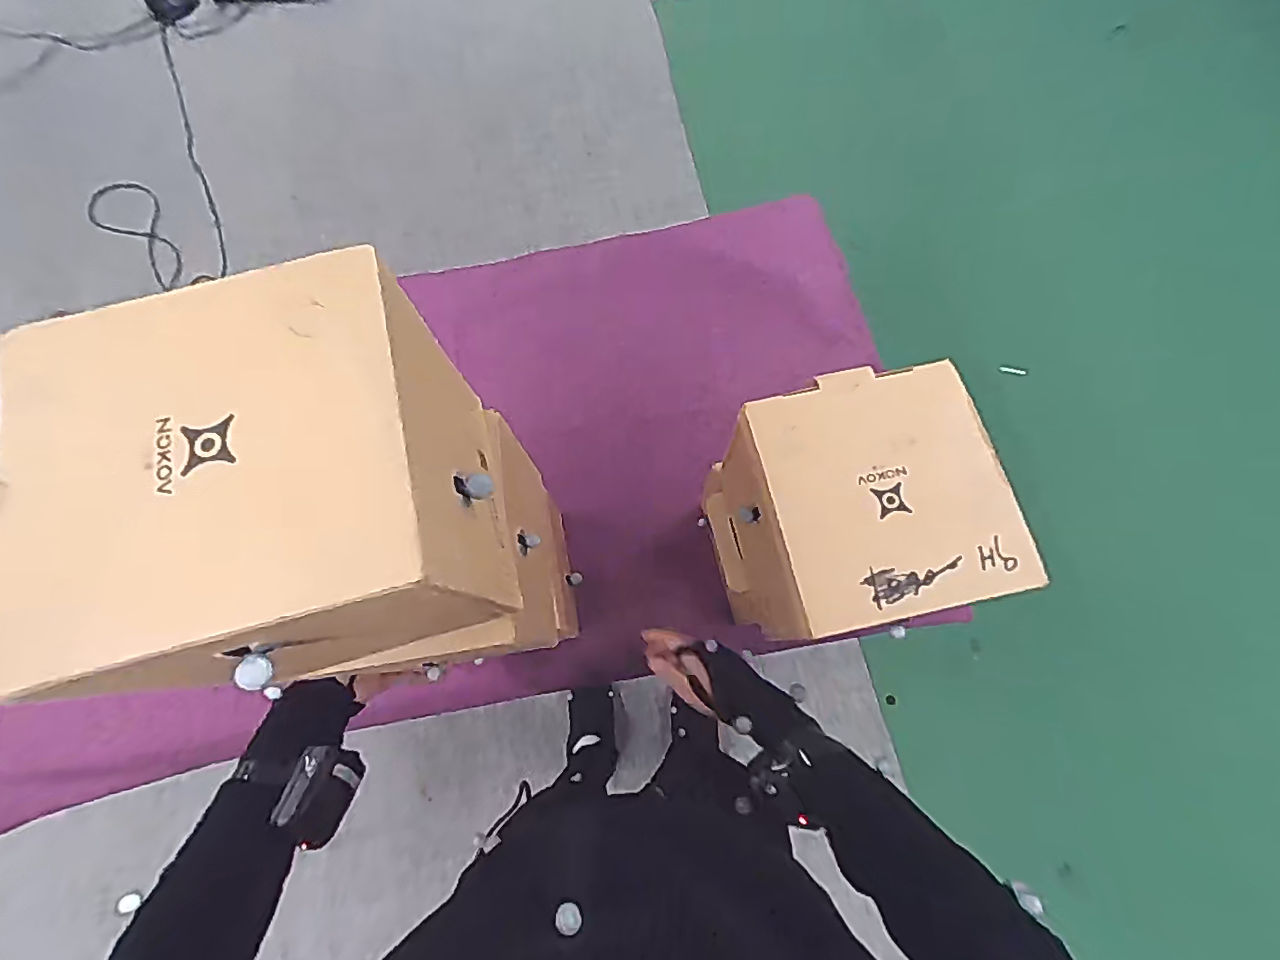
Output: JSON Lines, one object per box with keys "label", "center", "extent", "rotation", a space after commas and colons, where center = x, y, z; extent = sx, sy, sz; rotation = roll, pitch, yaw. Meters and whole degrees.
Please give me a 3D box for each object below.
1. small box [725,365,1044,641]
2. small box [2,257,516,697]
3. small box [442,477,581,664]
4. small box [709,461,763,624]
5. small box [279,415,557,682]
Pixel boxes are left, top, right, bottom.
{"label": "small box", "center": [0.177, 0.032, 0.462], "extent": [0.168, 0.176, 0.179], "rotation": [-12, 72, -1]}
{"label": "small box", "center": [-0.181, 0.011, 0.312], "extent": [0.179, 0.176, 0.168], "rotation": [-16, 73, -2]}
{"label": "small box", "center": [-0.174, 0.113, 0.622], "extent": [0.179, 0.176, 0.168], "rotation": [-11, 72, -2]}
{"label": "small box", "center": [0.182, 0.064, 0.624], "extent": [0.179, 0.176, 0.168], "rotation": [-14, 73, -3]}
{"label": "small box", "center": [-0.172, 0.066, 0.464], "extent": [0.168, 0.176, 0.179], "rotation": [-9, 72, -1]}
